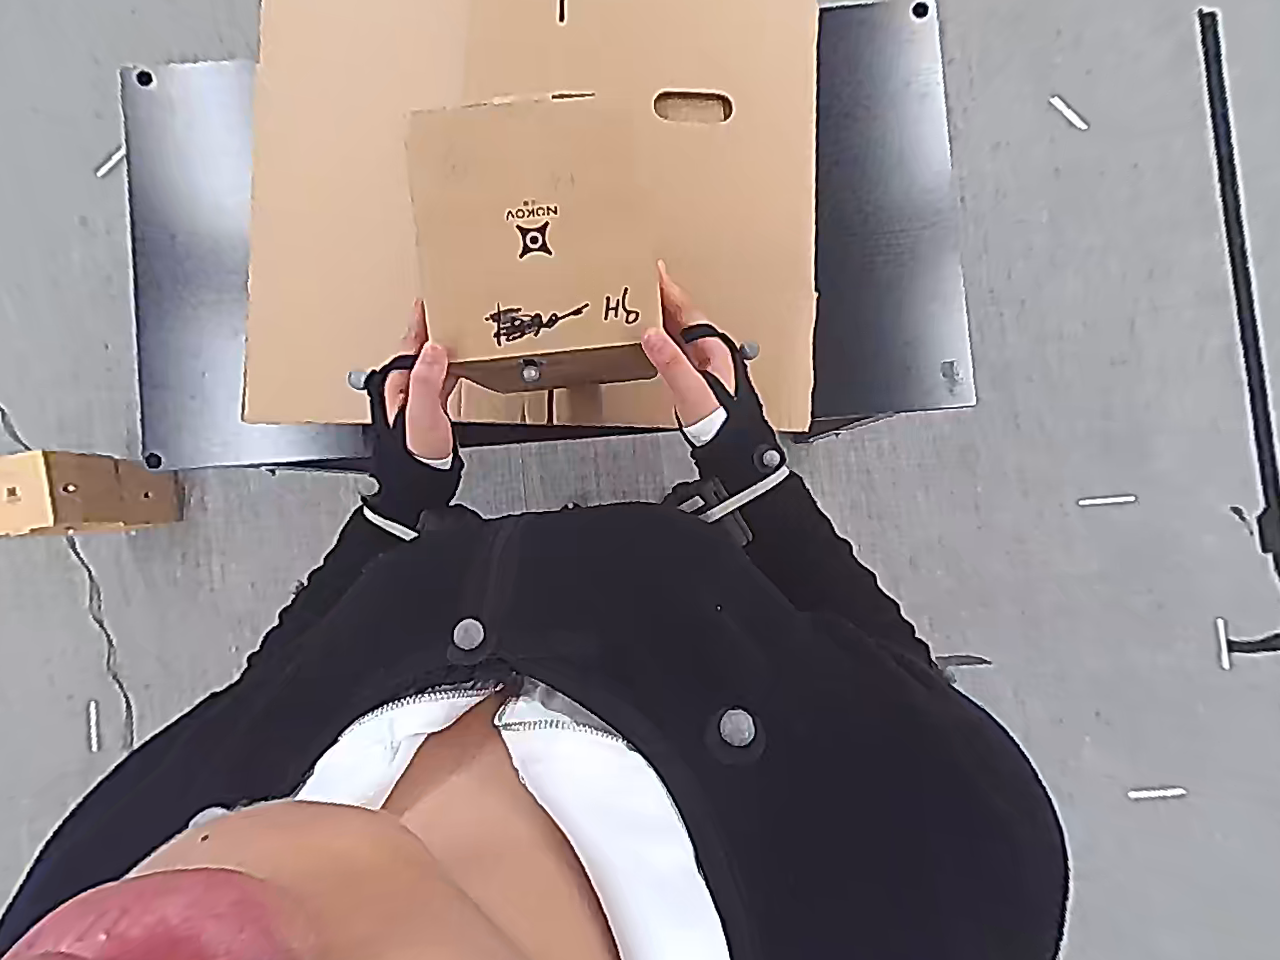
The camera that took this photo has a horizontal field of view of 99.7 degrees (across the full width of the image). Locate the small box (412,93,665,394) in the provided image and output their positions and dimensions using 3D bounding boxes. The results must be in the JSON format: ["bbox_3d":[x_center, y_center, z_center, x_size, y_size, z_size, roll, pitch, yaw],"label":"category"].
[{"bbox_3d":[-0.071,-0.177,0.456,0.168,0.176,0.179,-6,91,1],"label":"small box"}]

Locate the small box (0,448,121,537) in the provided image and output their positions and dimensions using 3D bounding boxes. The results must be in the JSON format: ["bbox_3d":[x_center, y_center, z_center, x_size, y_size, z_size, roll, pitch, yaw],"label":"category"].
[{"bbox_3d":[-1.386,0.031,1.277,0.168,0.176,0.179,-12,87,-1],"label":"small box"}]

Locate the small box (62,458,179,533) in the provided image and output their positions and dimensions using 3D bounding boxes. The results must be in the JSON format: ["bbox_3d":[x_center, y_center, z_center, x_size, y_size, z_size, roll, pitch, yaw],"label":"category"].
[{"bbox_3d":[-1.382,0.043,1.439,0.168,0.176,0.179,-8,89,0],"label":"small box"}]
